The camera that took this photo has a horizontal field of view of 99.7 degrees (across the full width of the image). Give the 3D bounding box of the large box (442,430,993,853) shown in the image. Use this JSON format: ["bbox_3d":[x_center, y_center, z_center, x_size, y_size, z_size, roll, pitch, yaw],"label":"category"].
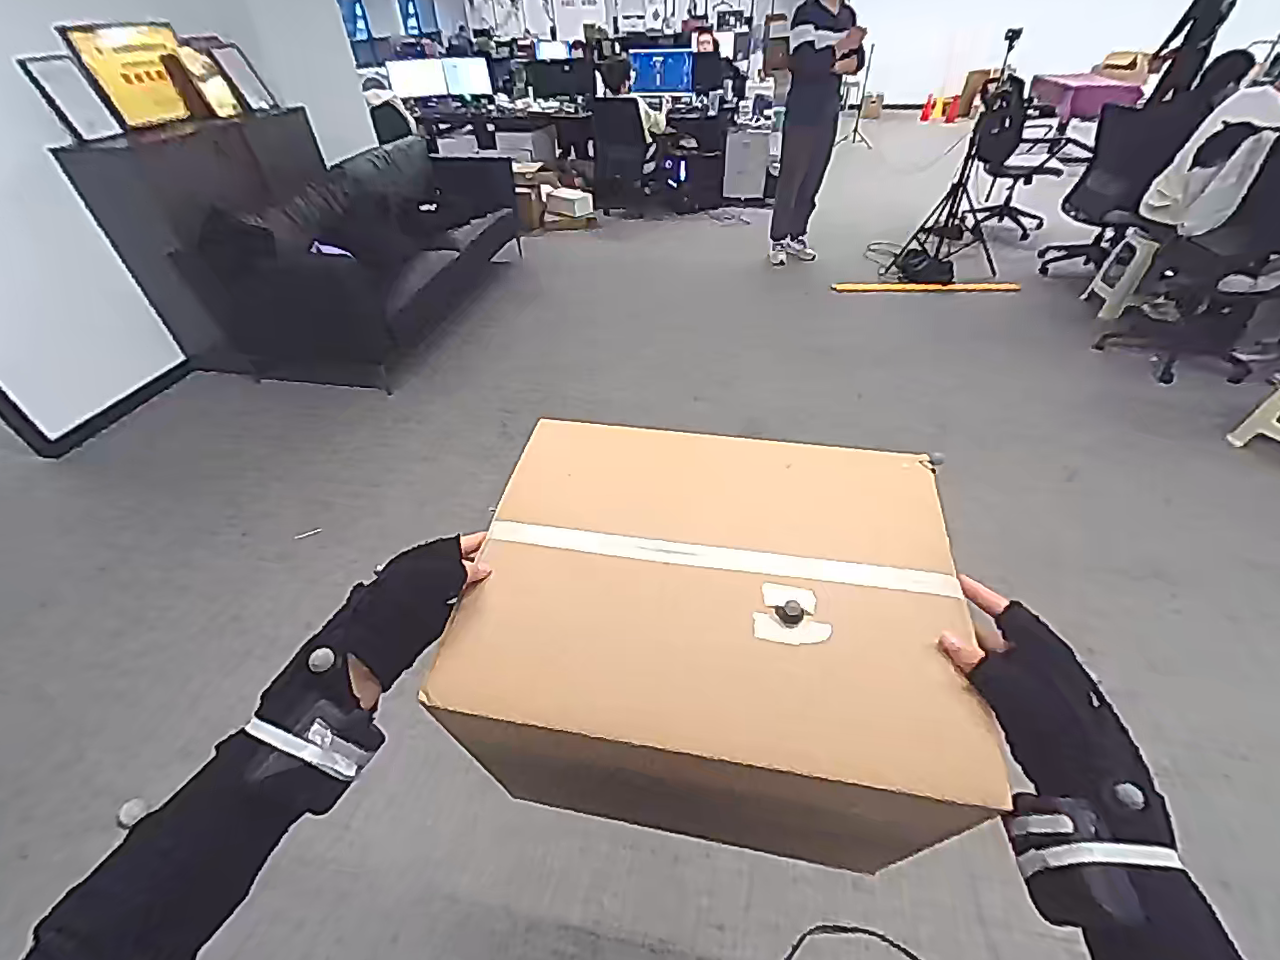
[{"bbox_3d":[0.070,0.171,0.592,0.408,0.320,0.320,6,49,9],"label":"large box"}]
